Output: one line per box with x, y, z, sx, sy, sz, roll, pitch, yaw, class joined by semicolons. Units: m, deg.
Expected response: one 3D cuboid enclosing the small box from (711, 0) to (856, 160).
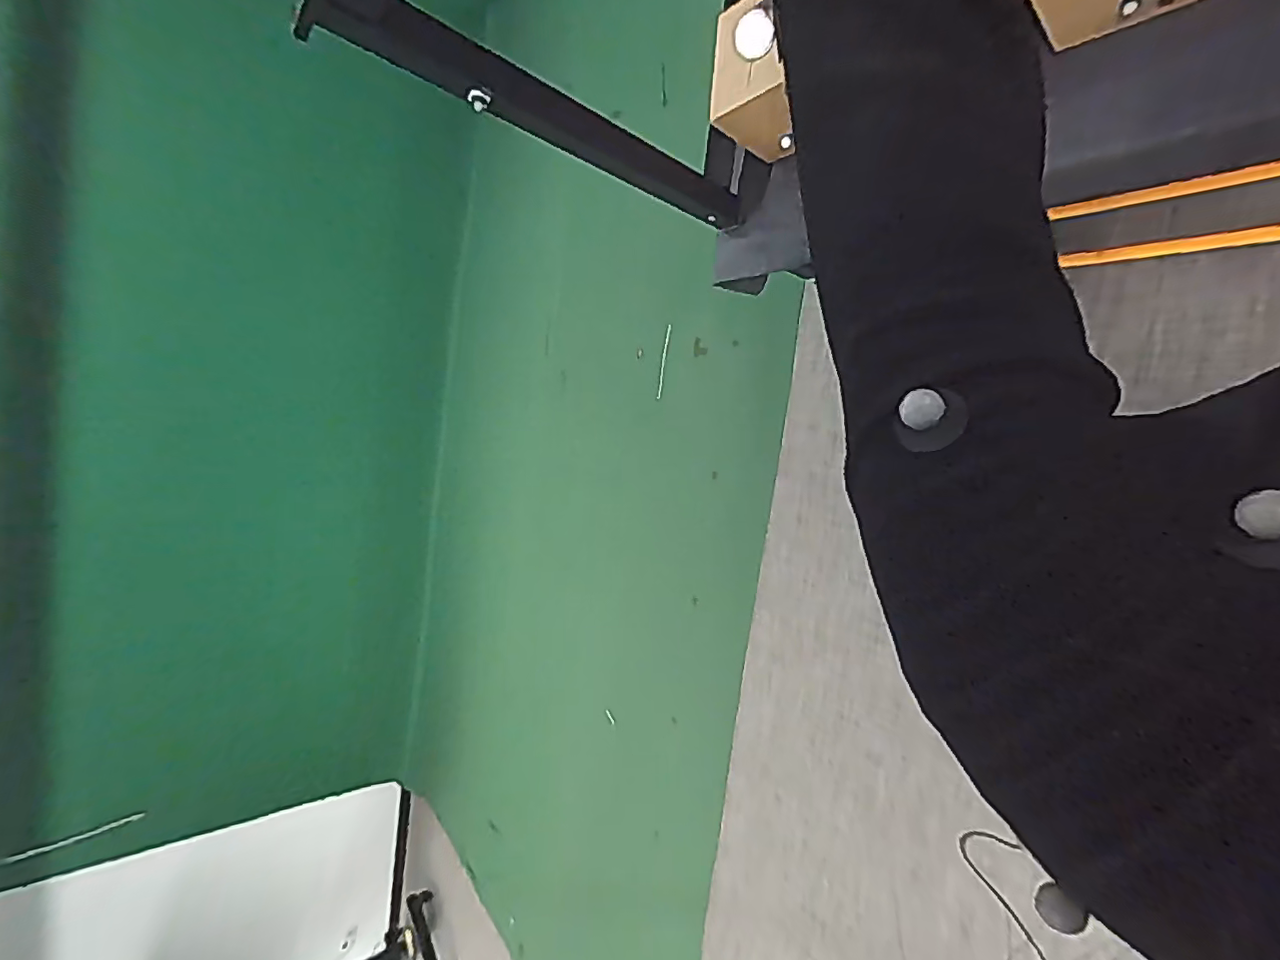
0.241;-0.672;0.889;0.168;0.176;0.179;9;94;50;small box
